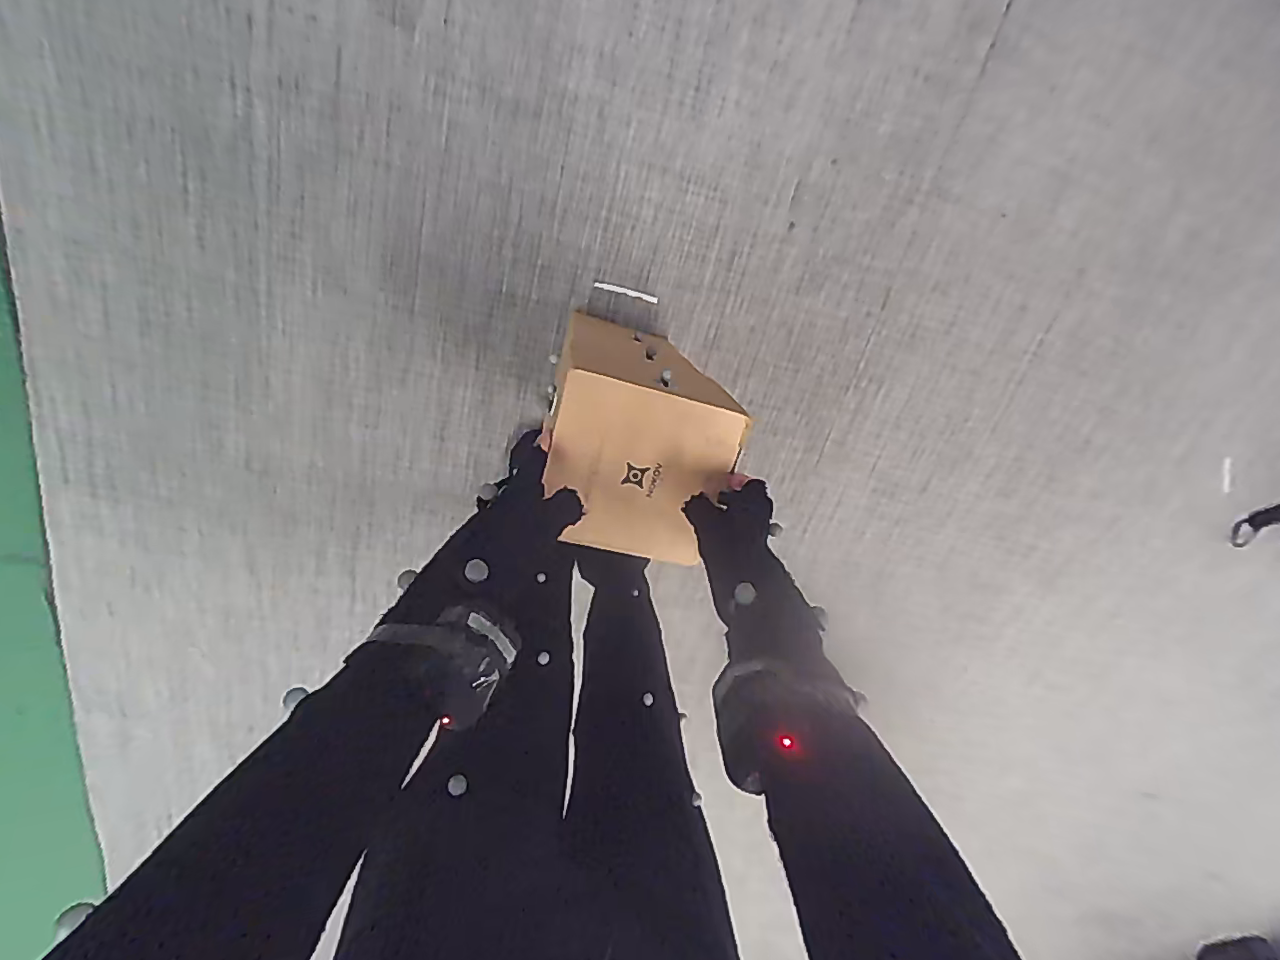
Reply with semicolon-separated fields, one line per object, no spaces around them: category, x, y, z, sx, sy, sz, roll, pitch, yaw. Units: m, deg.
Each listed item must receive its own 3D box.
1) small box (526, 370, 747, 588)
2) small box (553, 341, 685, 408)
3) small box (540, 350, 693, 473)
small box;-0.013;-0.010;0.582;0.179;0.176;0.168;13;109;-11
small box;-0.046;-0.121;0.887;0.179;0.176;0.168;11;110;-13
small box;-0.030;-0.066;0.733;0.179;0.176;0.168;14;110;-13
